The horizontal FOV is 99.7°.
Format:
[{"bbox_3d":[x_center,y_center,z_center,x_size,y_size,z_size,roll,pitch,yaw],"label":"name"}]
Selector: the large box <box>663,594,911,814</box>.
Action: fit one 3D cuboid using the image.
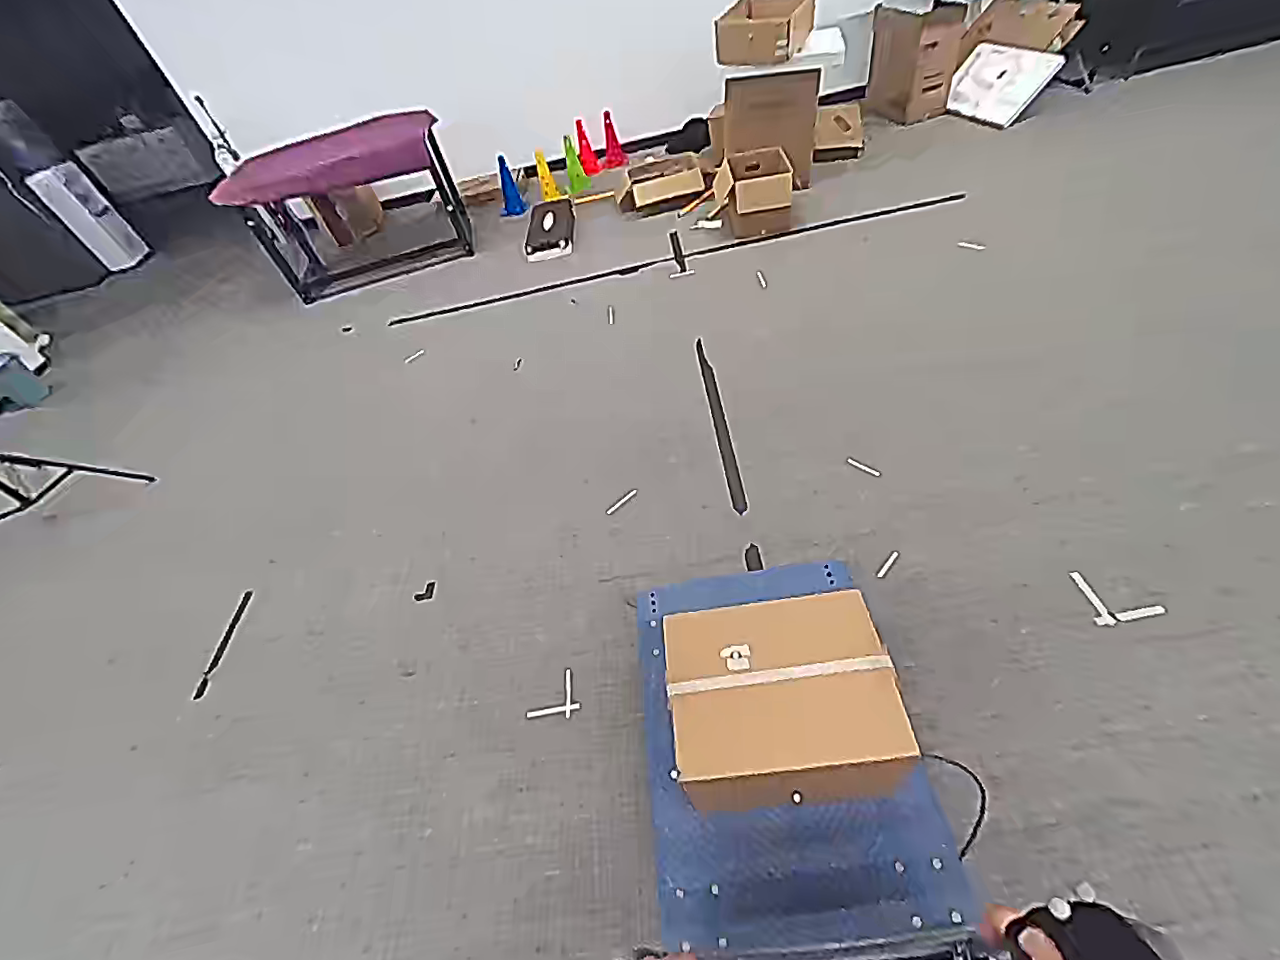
[{"bbox_3d":[0.284,0.478,1.132,0.408,0.320,0.320,-11,47,6],"label":"large box"}]
